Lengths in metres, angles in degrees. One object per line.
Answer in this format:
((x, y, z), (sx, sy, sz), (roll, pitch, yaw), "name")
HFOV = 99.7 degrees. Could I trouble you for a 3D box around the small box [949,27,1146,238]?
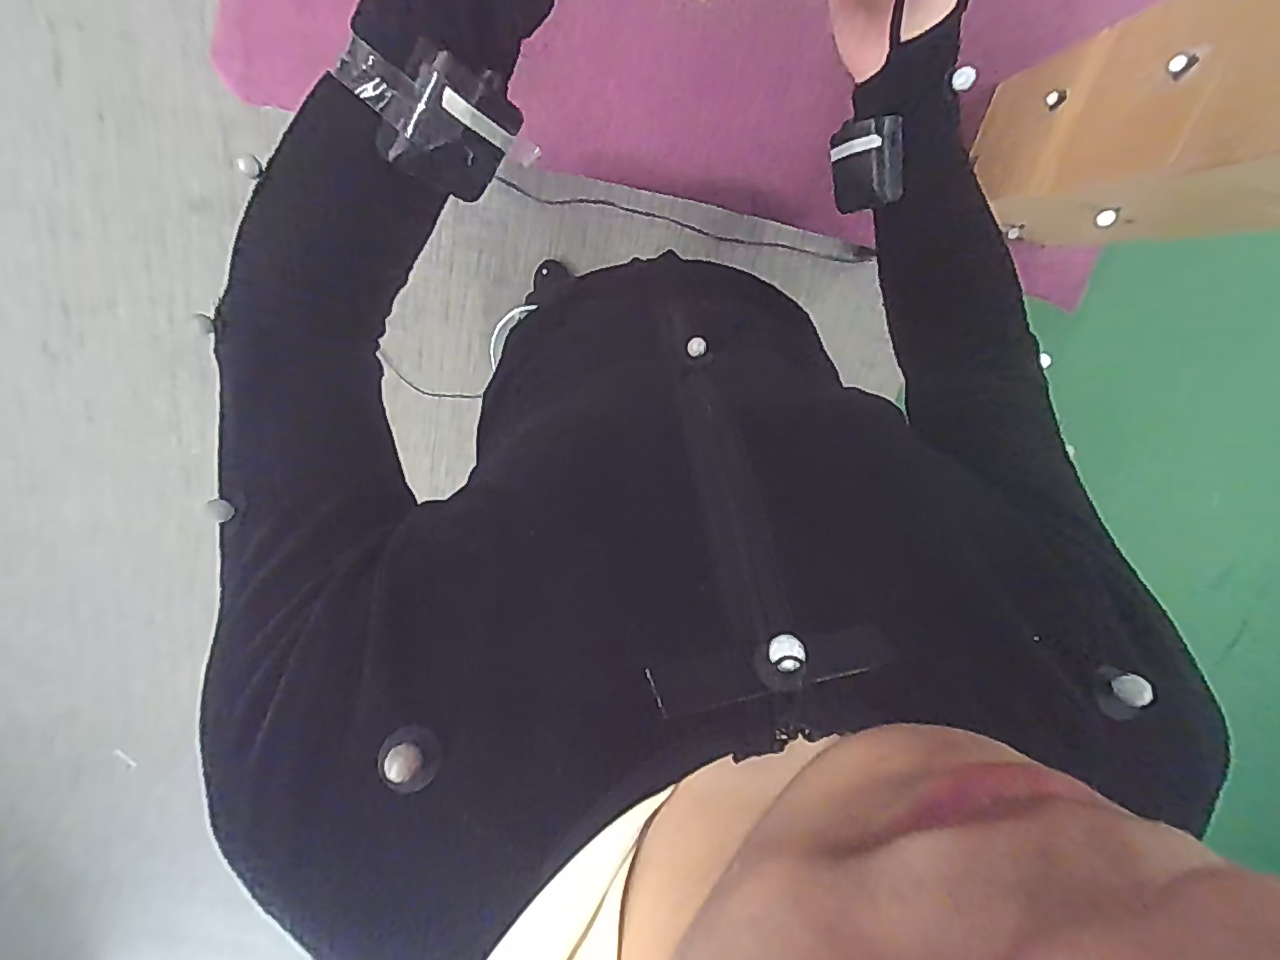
((0.547, -0.418, 0.688), (0.179, 0.176, 0.168), (14, 108, -9), "small box")
